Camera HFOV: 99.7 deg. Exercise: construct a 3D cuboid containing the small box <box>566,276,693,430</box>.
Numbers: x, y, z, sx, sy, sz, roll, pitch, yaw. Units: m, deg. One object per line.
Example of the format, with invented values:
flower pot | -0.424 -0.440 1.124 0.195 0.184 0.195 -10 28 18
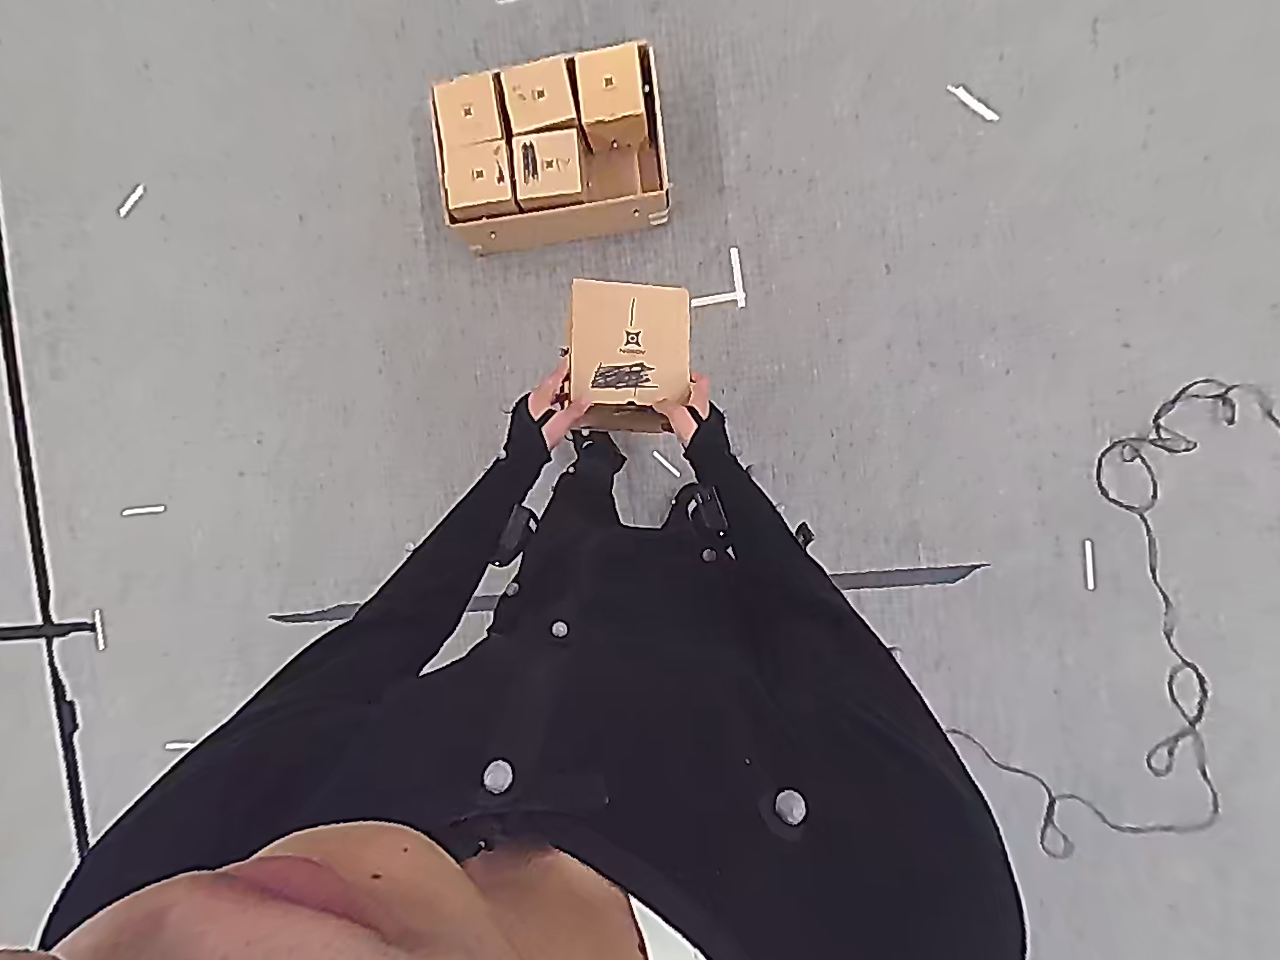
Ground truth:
small box | -0.022 -0.175 0.803 0.168 0.176 0.179 2 83 -10
